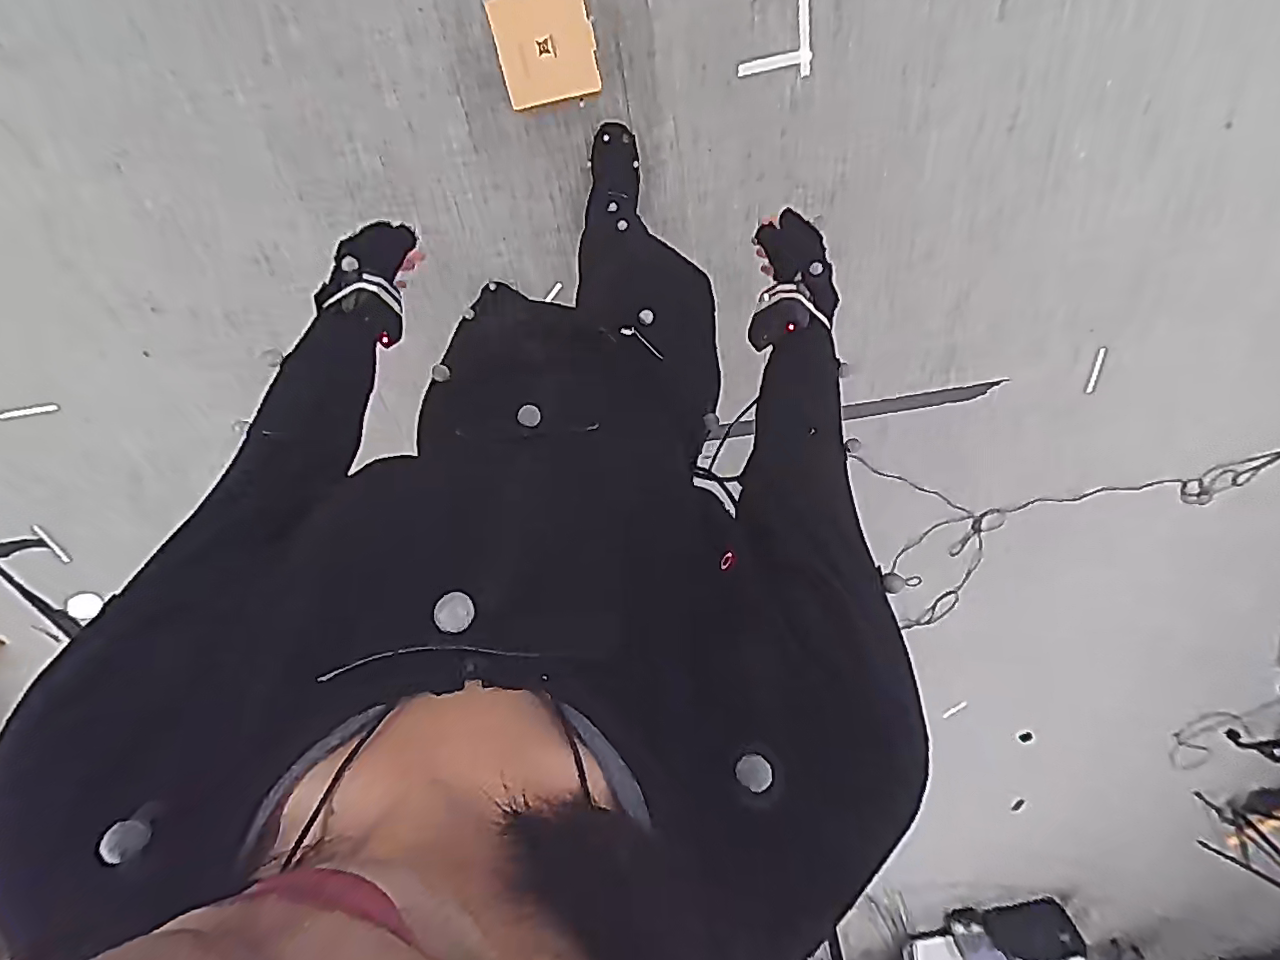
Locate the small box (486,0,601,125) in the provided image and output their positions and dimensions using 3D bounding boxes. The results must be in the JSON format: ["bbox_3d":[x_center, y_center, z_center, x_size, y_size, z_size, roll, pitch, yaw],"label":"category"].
[{"bbox_3d":[-0.181,-0.812,1.057,0.179,0.176,0.168,-12,120,2],"label":"small box"}]
